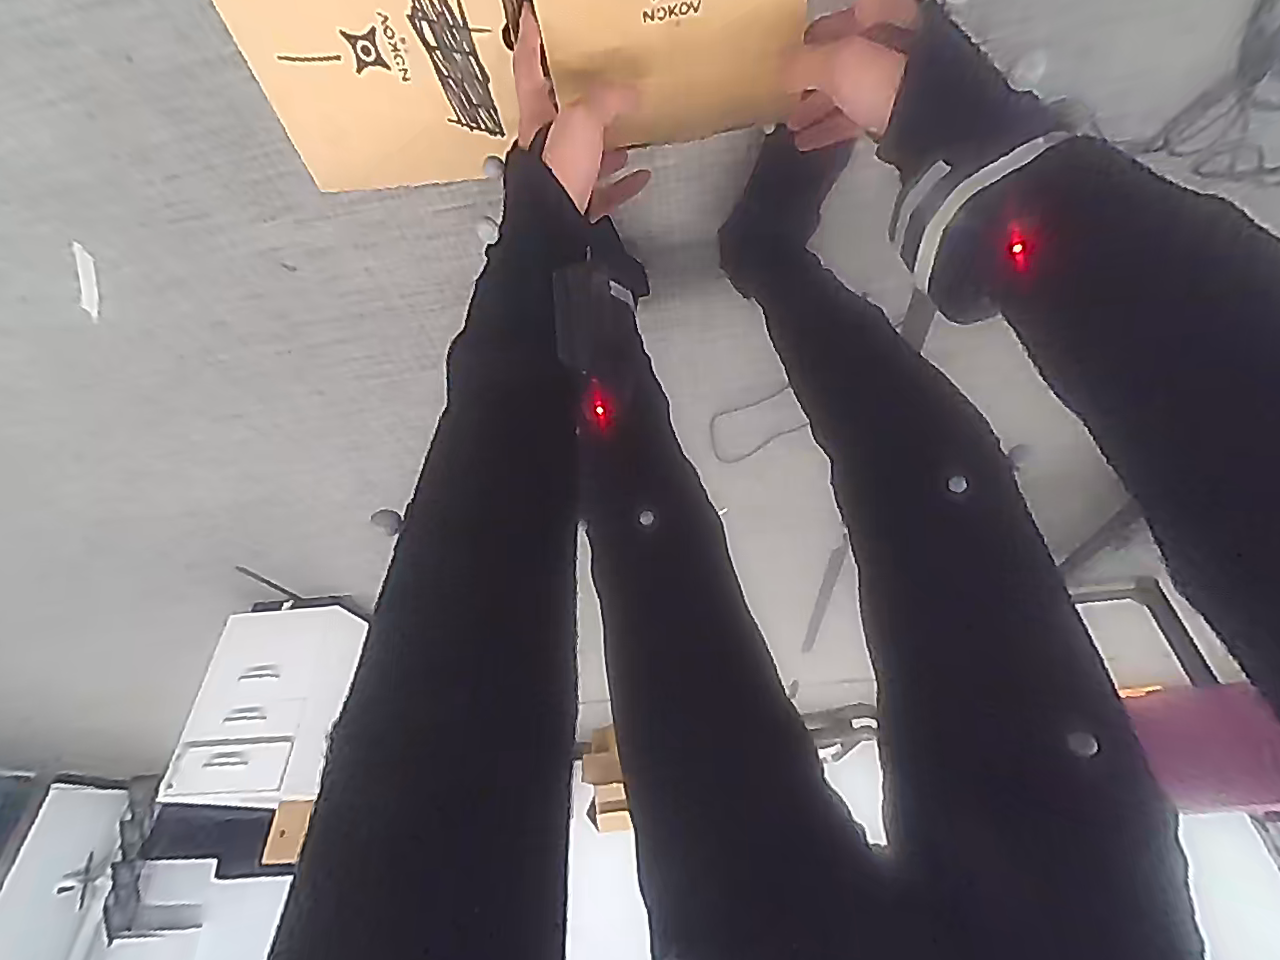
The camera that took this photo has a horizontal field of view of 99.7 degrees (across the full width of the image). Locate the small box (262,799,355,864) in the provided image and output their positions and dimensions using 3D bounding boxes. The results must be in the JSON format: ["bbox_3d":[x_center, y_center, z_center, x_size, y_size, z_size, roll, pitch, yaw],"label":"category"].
[{"bbox_3d":[-1.070,1.147,1.763,0.179,0.176,0.168,-5,147,5],"label":"small box"}]
